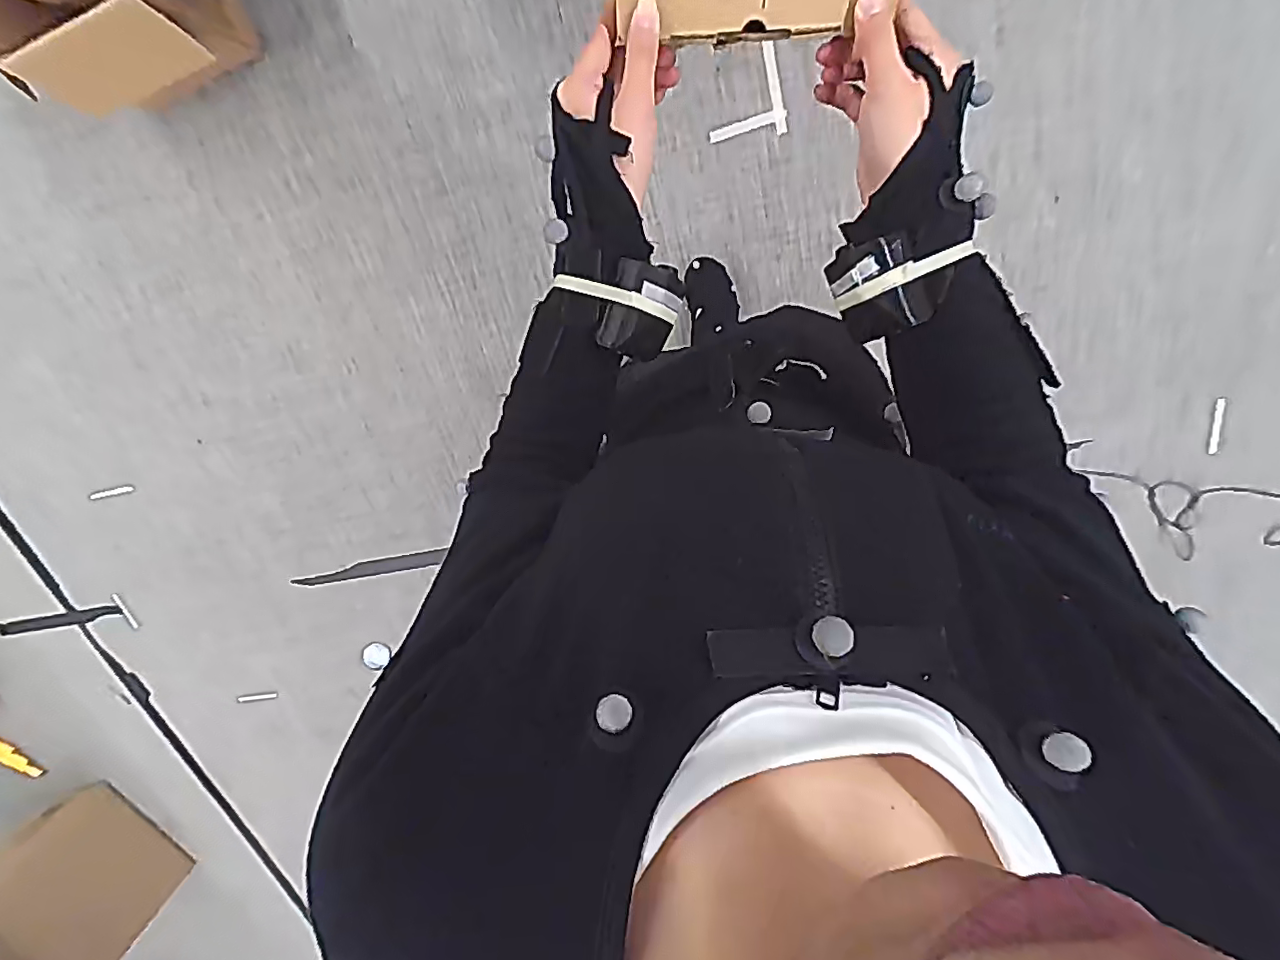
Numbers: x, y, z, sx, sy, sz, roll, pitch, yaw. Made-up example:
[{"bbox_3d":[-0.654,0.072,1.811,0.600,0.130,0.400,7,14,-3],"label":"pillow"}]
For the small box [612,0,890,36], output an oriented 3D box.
[{"bbox_3d":[0.067,-0.390,0.335,0.168,0.176,0.179,-1,127,3],"label":"small box"}]
